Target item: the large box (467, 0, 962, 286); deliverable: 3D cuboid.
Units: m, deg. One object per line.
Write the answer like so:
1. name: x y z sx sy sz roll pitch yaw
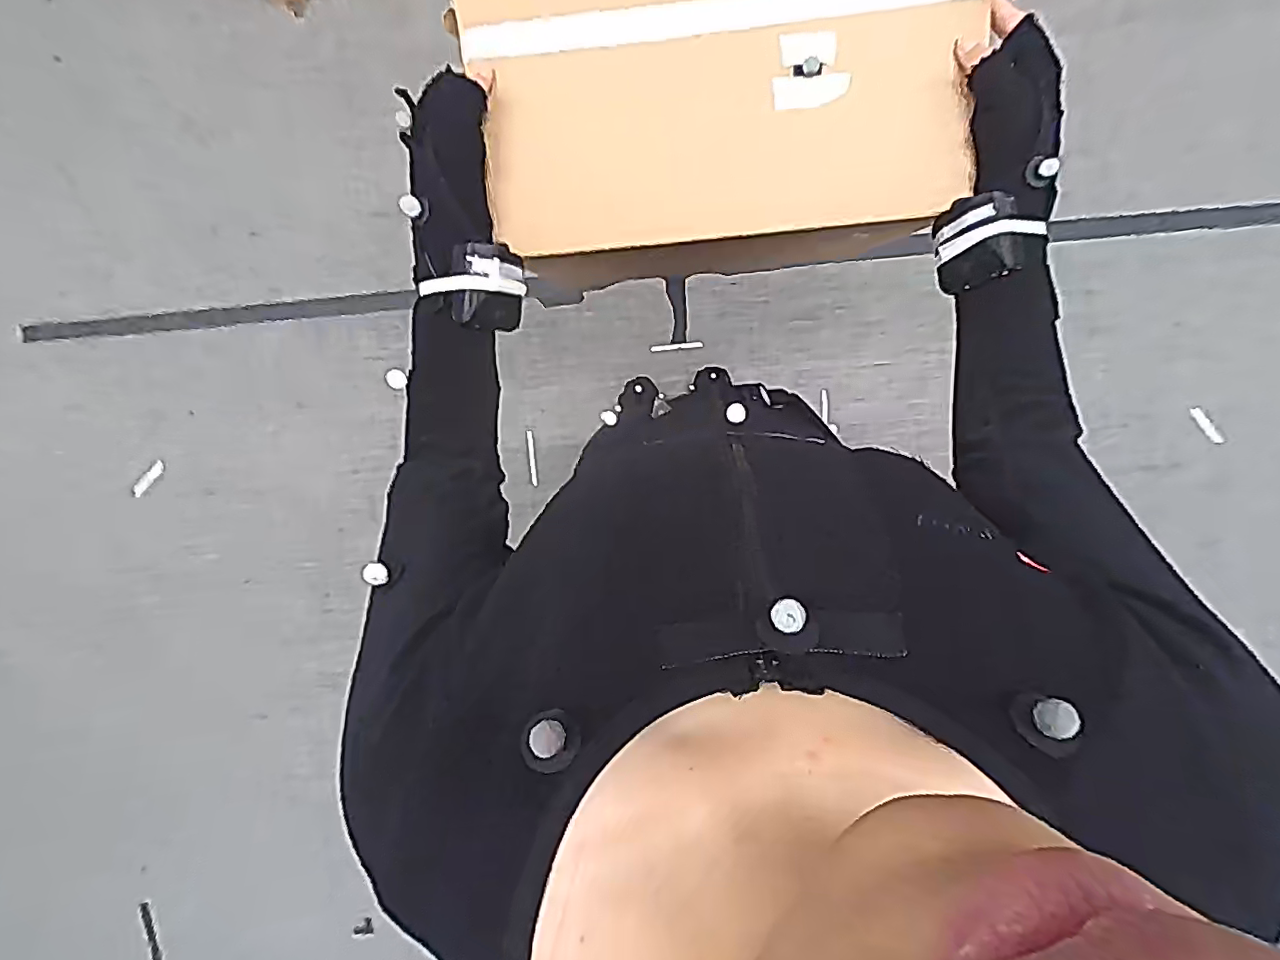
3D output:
1. large box: 0.061 -0.403 0.583 0.408 0.320 0.320 -5 106 2
